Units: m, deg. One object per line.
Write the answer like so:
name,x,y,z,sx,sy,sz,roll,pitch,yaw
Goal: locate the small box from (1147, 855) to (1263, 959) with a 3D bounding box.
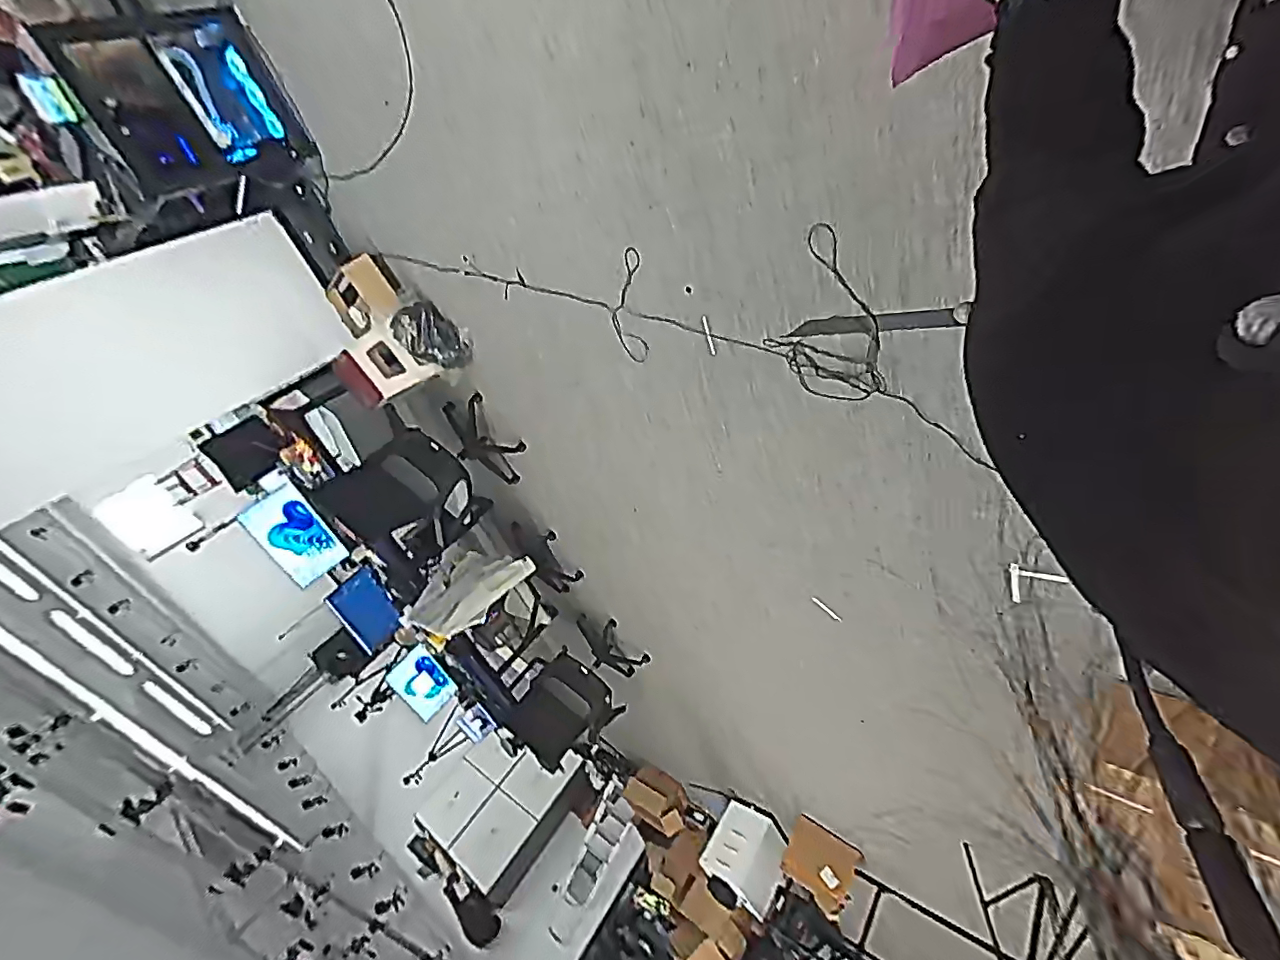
small box,1.407,1.093,1.356,0.168,0.176,0.179,13,135,38
